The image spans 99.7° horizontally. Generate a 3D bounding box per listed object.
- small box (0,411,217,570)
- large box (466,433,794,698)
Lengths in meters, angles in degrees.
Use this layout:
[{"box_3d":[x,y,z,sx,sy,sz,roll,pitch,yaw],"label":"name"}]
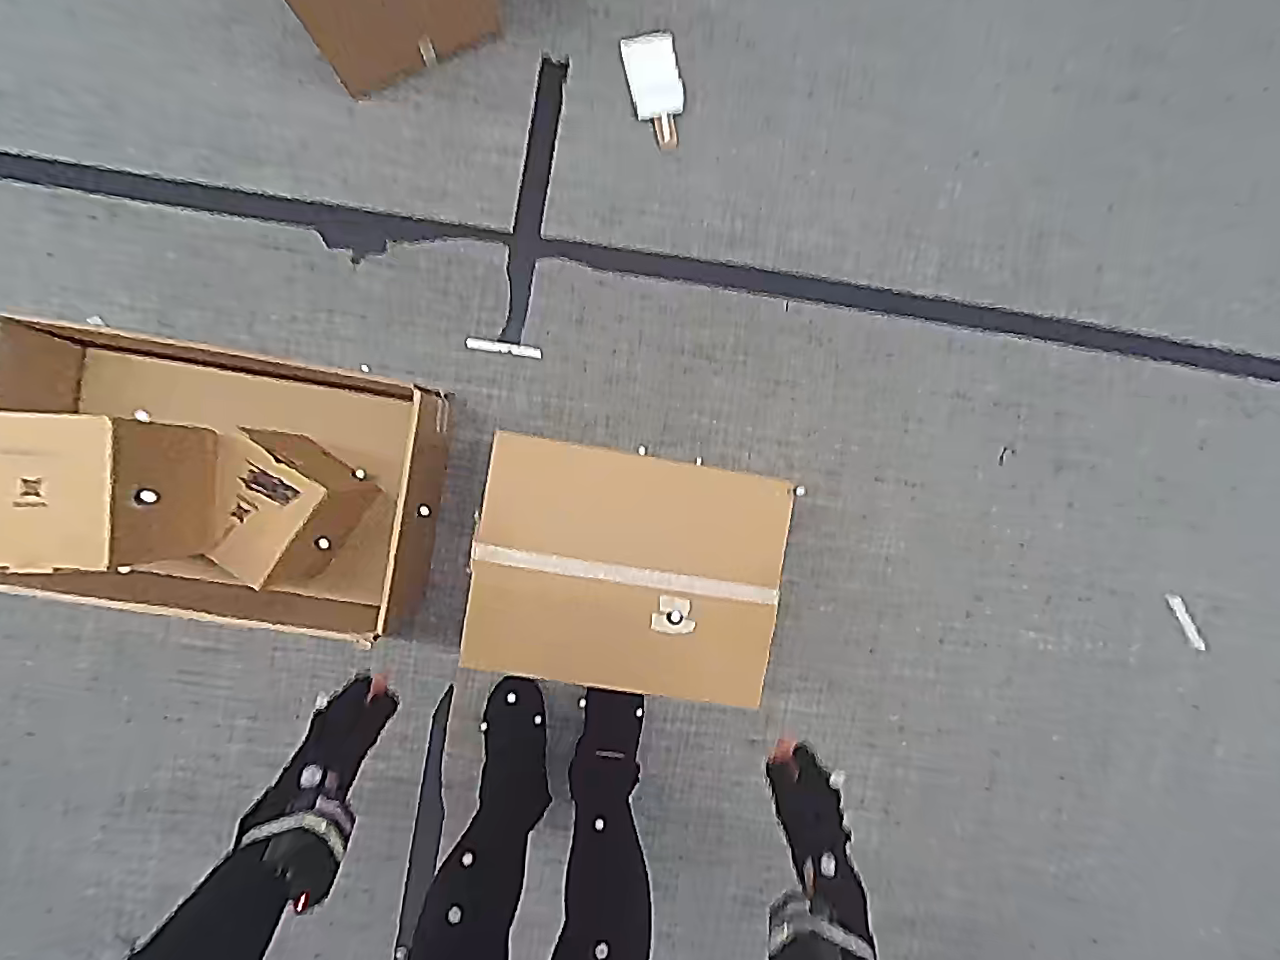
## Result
[{"box_3d":[-0.673,0.011,0.678,0.168,0.176,0.179,2,89,-4],"label":"small box"},{"box_3d":[-0.022,0.114,0.859,0.408,0.320,0.320,9,91,-4],"label":"large box"}]
